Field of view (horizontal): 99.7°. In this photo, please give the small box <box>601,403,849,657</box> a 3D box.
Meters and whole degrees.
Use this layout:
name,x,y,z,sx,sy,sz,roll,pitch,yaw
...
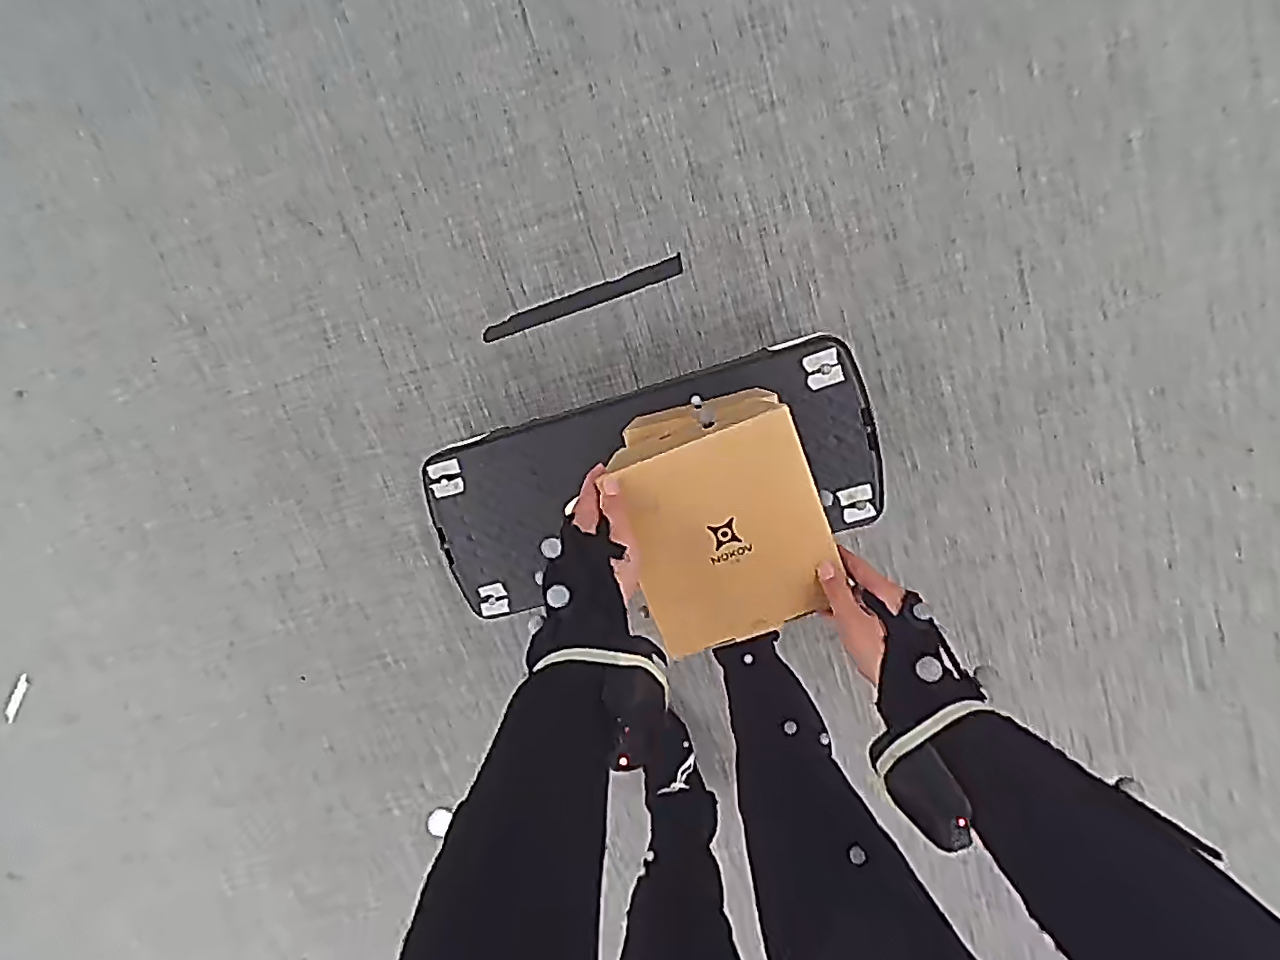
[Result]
name,x,y,z,sx,sy,sz,roll,pitch,yaw
small box,0.073,0.033,0.525,0.168,0.176,0.179,-21,100,6

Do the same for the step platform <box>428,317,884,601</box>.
name,x,y,z,sx,sy,sz,roll,pitch,yaw
step platform,0.020,-0.029,0.872,0.684,0.204,0.286,-16,99,9
